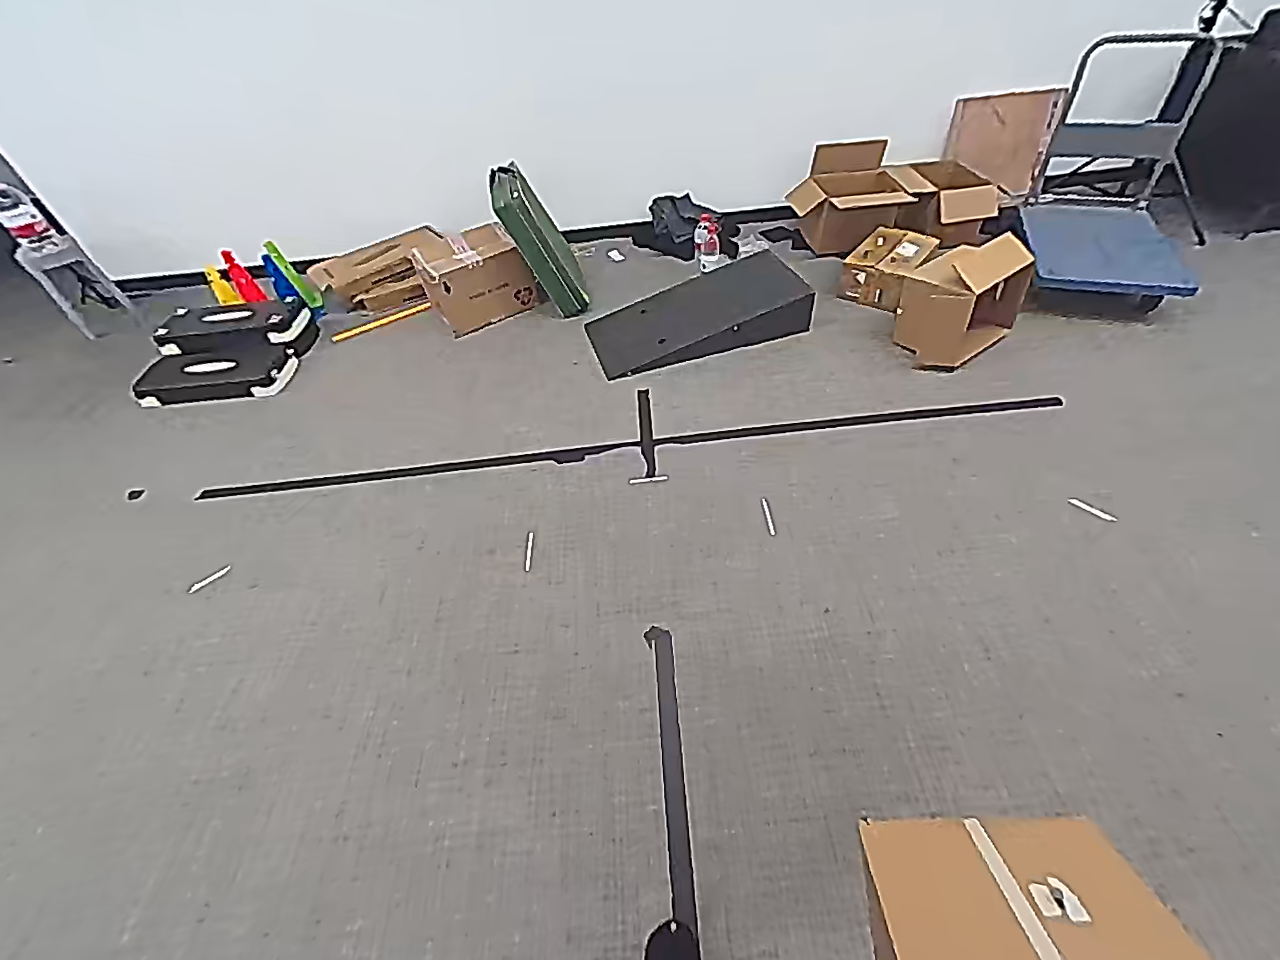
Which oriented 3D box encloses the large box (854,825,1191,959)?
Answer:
[{"bbox_3d":[0.465,0.682,0.615,0.320,0.320,0.408,-6,4,10],"label":"large box"}]
